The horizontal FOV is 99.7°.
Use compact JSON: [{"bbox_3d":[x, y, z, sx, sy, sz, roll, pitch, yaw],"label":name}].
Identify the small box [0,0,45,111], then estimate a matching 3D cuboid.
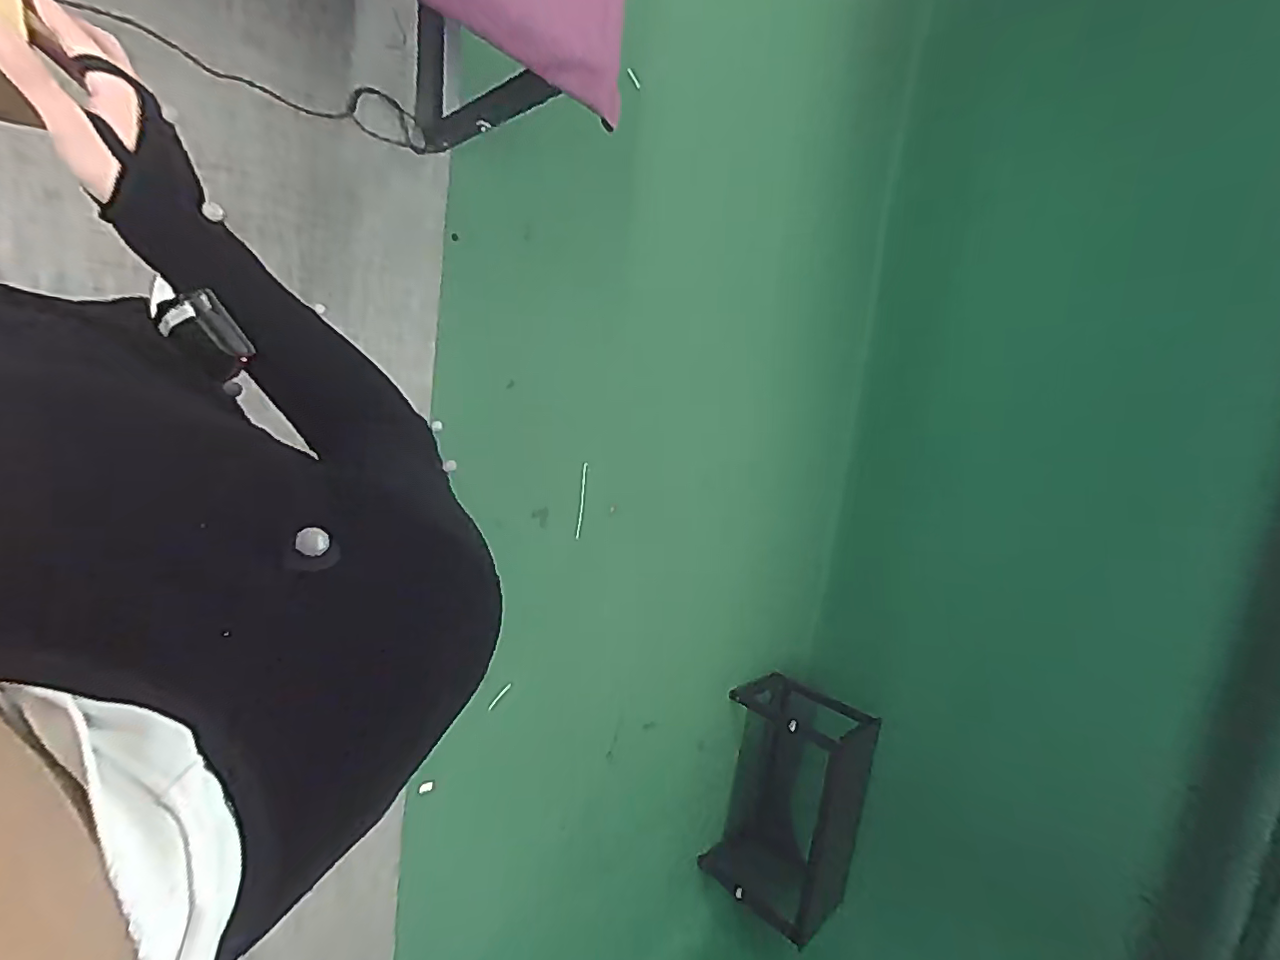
[{"bbox_3d":[-0.517,-0.374,0.341,0.168,0.176,0.179,-10,104,-43],"label":"small box"}]
